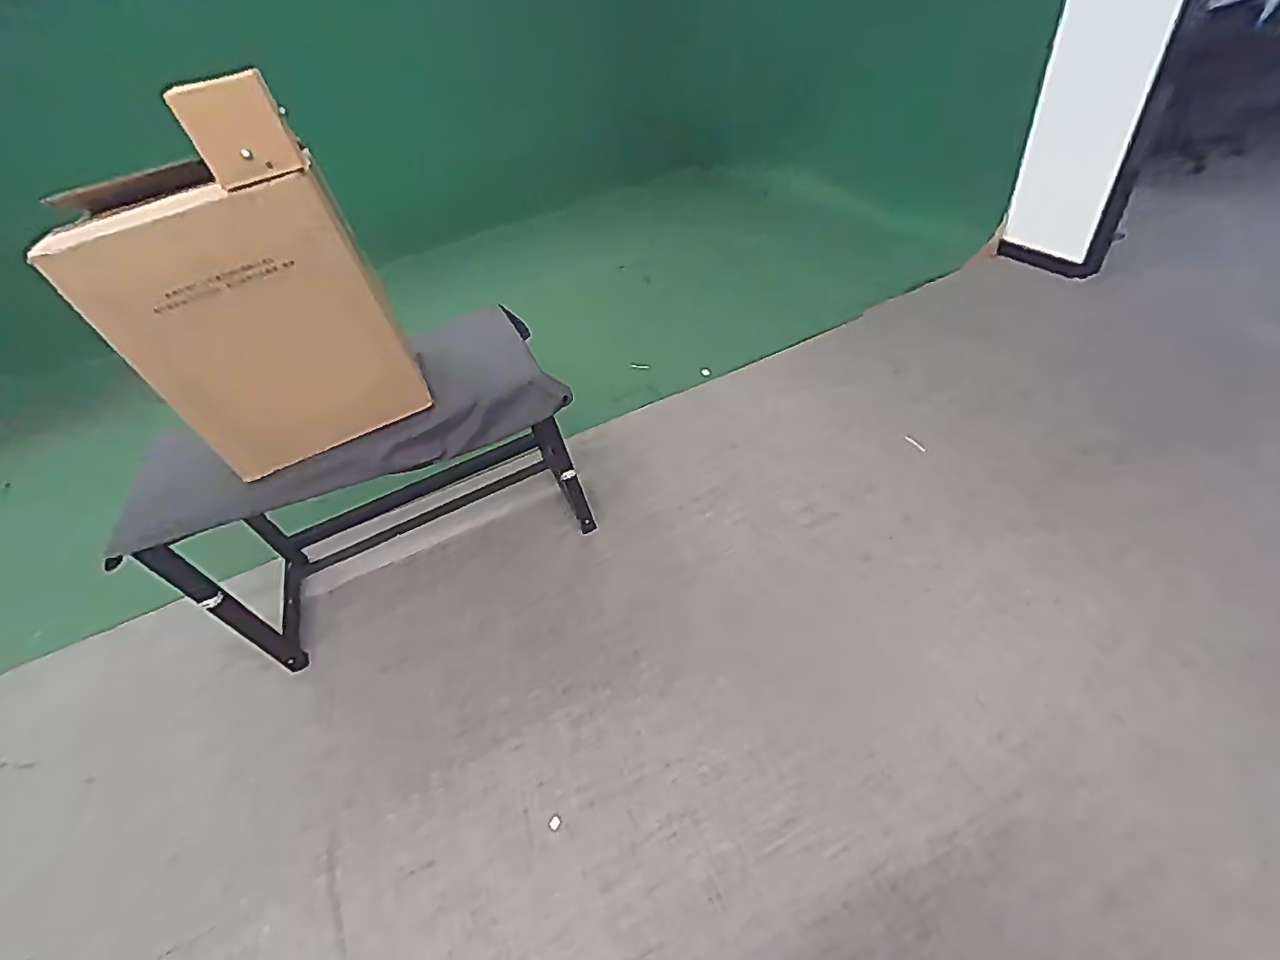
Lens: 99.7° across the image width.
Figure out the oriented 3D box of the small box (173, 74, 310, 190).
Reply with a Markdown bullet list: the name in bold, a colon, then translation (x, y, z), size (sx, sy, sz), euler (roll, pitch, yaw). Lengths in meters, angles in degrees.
- **small box**: translation (-0.824, -0.731, 1.139), size (0.168, 0.176, 0.179), euler (-25, 46, -12)
